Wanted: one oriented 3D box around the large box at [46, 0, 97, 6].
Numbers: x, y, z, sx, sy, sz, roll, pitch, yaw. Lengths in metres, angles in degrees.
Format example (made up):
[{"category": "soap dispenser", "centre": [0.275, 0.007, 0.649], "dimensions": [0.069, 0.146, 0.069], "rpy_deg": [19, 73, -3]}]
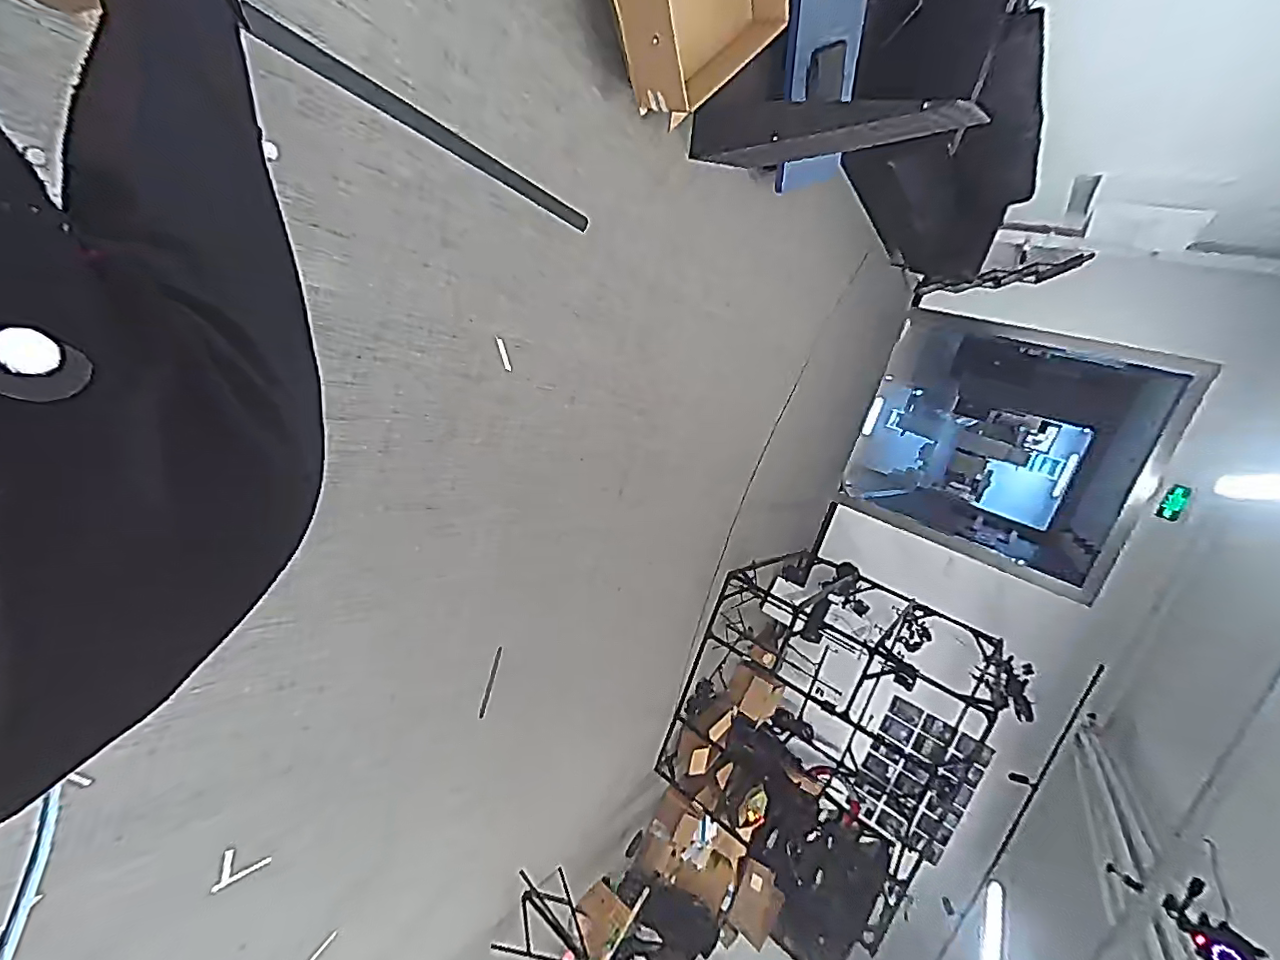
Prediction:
[{"category": "large box", "centre": [-0.576, -0.581, 0.311], "dimensions": [0.408, 0.320, 0.320], "rpy_deg": [-3, 118, -56]}]
